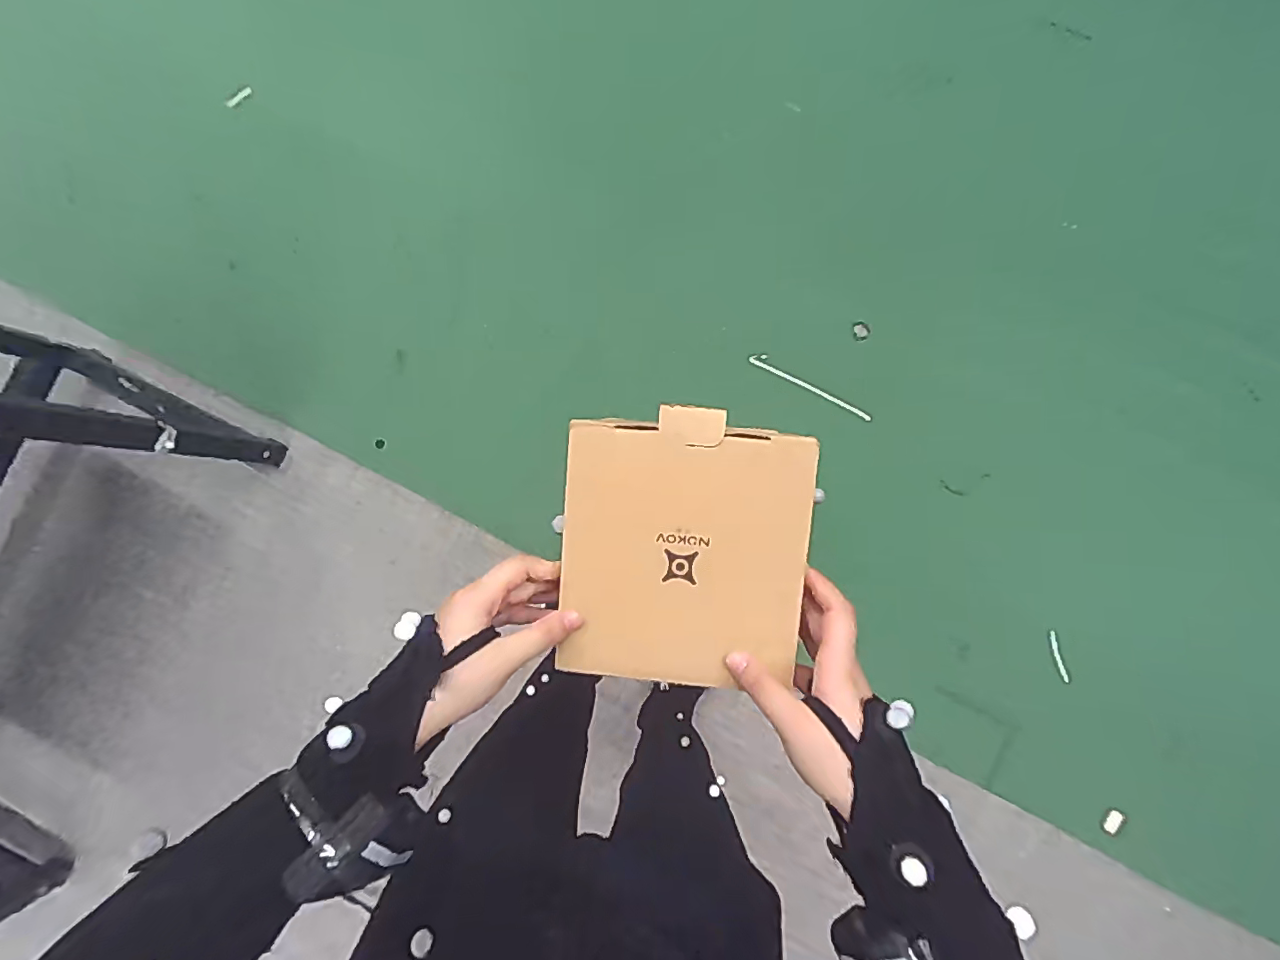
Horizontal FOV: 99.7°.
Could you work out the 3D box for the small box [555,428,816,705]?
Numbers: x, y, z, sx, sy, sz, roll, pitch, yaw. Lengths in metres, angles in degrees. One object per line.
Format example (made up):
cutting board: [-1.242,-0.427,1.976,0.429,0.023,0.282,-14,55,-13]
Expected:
small box: [0.034,0.051,0.438,0.168,0.176,0.179,4,96,5]
